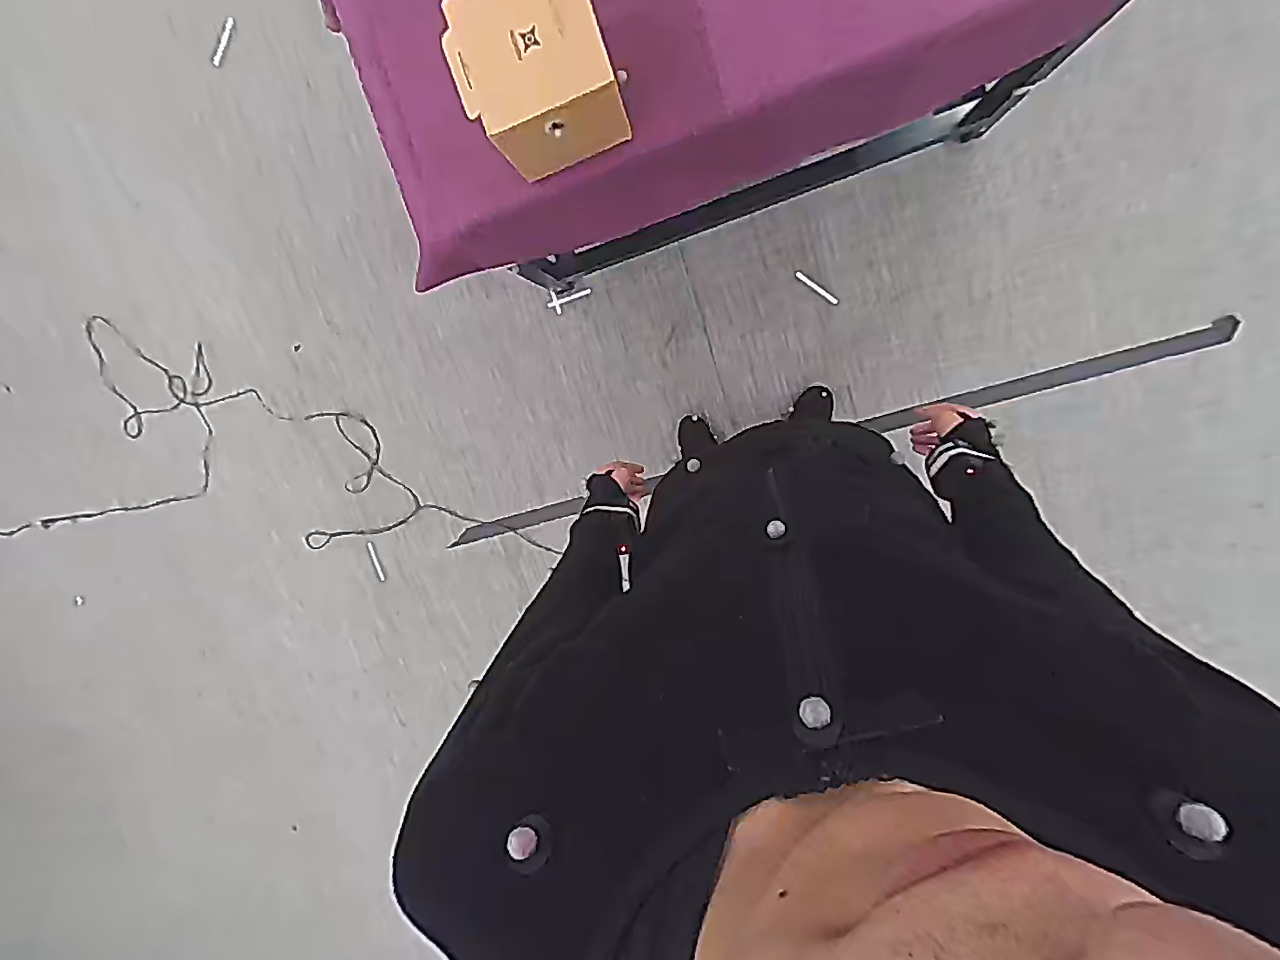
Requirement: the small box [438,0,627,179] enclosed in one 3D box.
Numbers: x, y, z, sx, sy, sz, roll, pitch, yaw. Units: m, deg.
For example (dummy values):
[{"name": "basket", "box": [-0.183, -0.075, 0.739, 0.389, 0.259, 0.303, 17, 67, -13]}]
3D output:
[{"name": "small box", "box": [-0.132, -0.543, 0.732, 0.179, 0.176, 0.168, -17, 98, 10]}]
